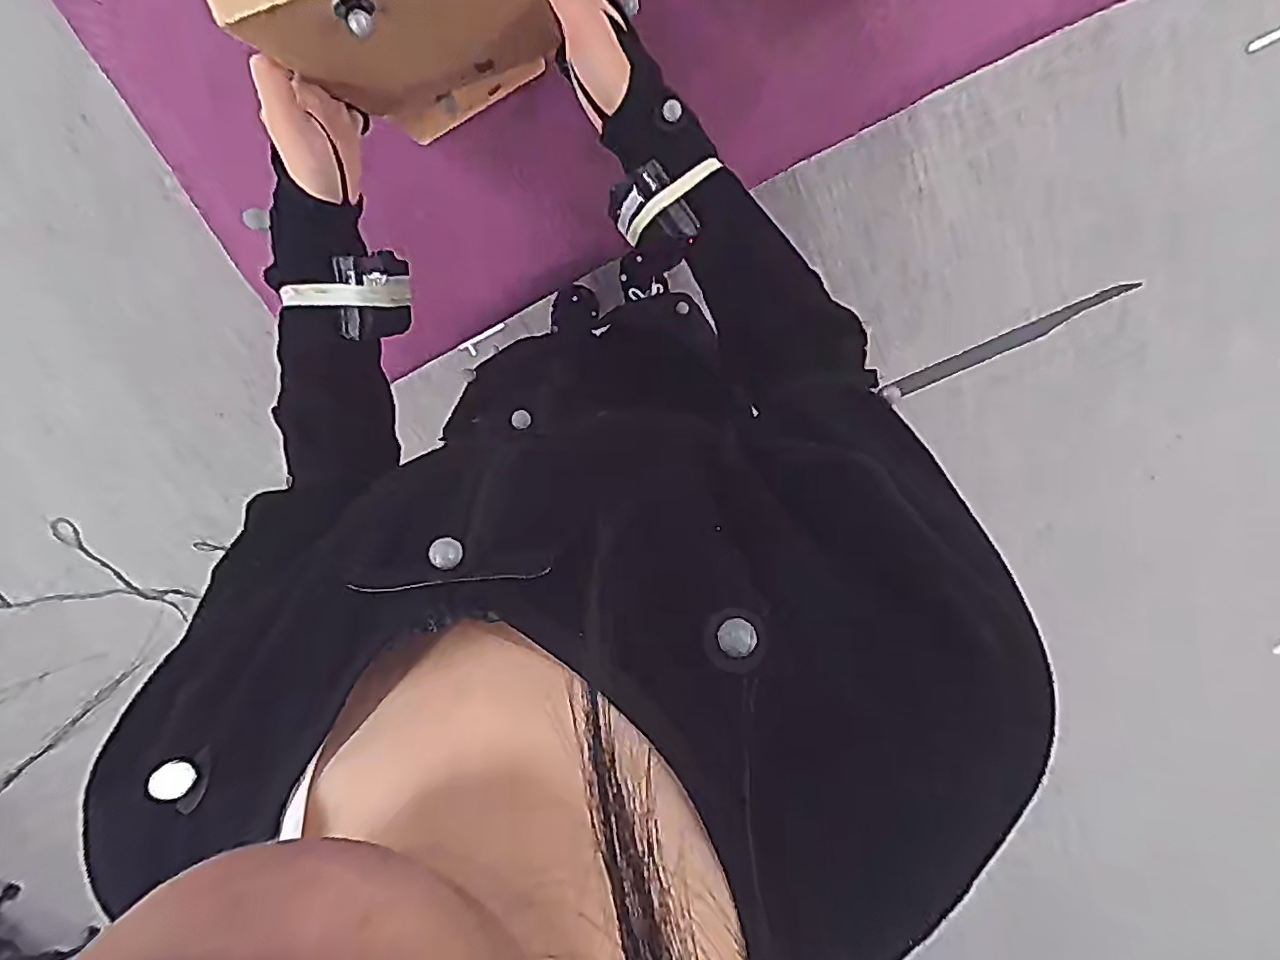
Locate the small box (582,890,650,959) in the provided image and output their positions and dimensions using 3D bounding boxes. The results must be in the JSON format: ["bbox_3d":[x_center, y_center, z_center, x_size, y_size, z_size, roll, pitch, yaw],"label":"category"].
[{"bbox_3d":[-0.076,1.436,1.687,0.168,0.176,0.179,20,108,-8],"label":"small box"}]

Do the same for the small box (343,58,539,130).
[{"bbox_3d":[-0.213,-0.461,0.504,0.168,0.176,0.179,-26,109,9],"label":"small box"}]

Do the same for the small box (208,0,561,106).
[{"bbox_3d":[-0.156,-0.357,0.309,0.168,0.176,0.179,-14,110,7],"label":"small box"}]
